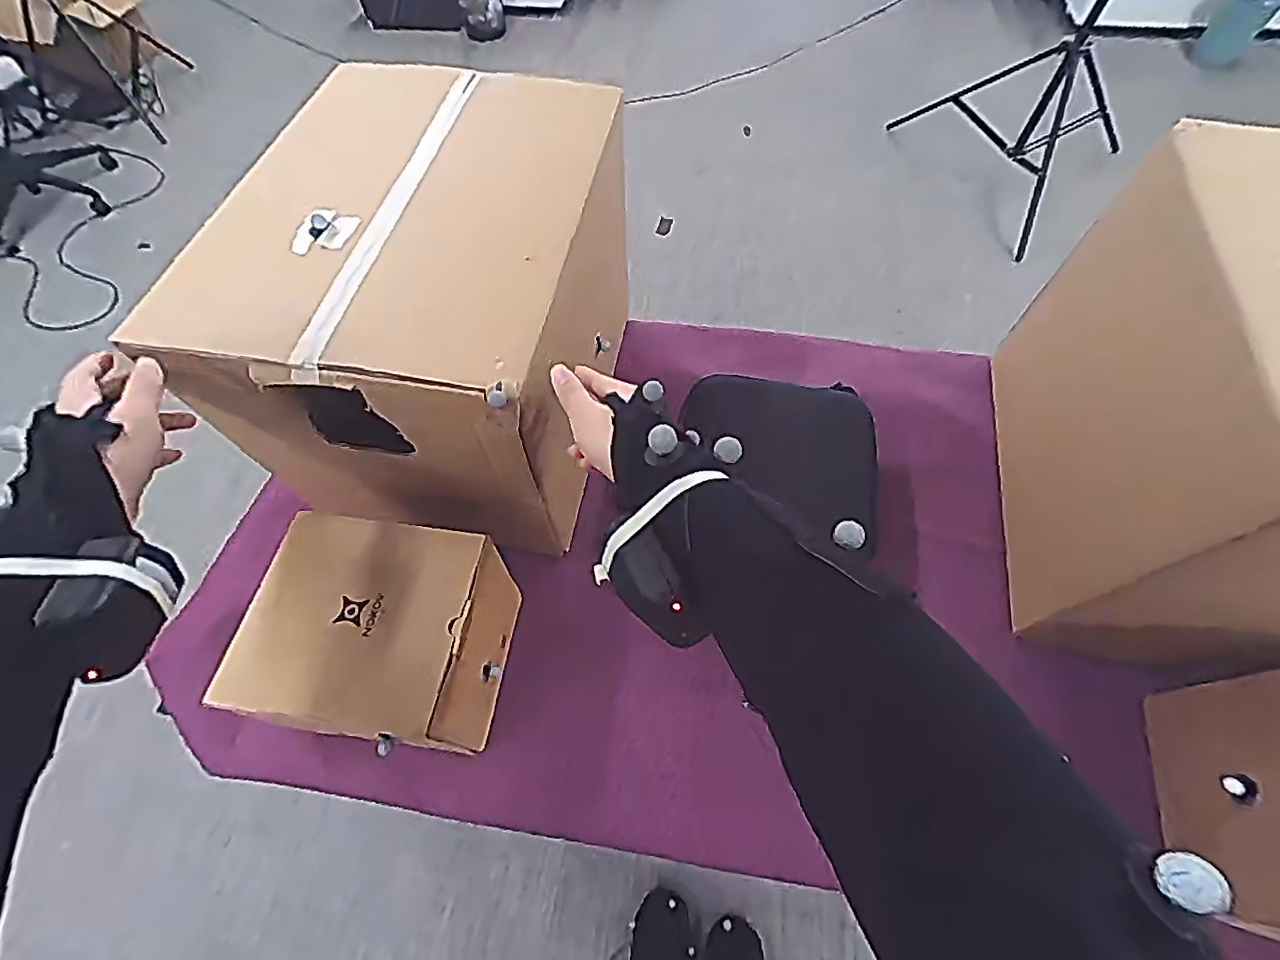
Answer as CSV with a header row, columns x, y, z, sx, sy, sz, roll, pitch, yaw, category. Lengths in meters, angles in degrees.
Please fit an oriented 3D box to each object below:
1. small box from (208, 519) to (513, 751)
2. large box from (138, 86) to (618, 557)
x,y,z,sx,sy,sz,roll,pitch,yaw,category
-0.237,0.154,0.516,0.179,0.176,0.168,7,60,2,small box
-0.207,-0.166,0.622,0.320,0.320,0.408,7,63,5,large box
